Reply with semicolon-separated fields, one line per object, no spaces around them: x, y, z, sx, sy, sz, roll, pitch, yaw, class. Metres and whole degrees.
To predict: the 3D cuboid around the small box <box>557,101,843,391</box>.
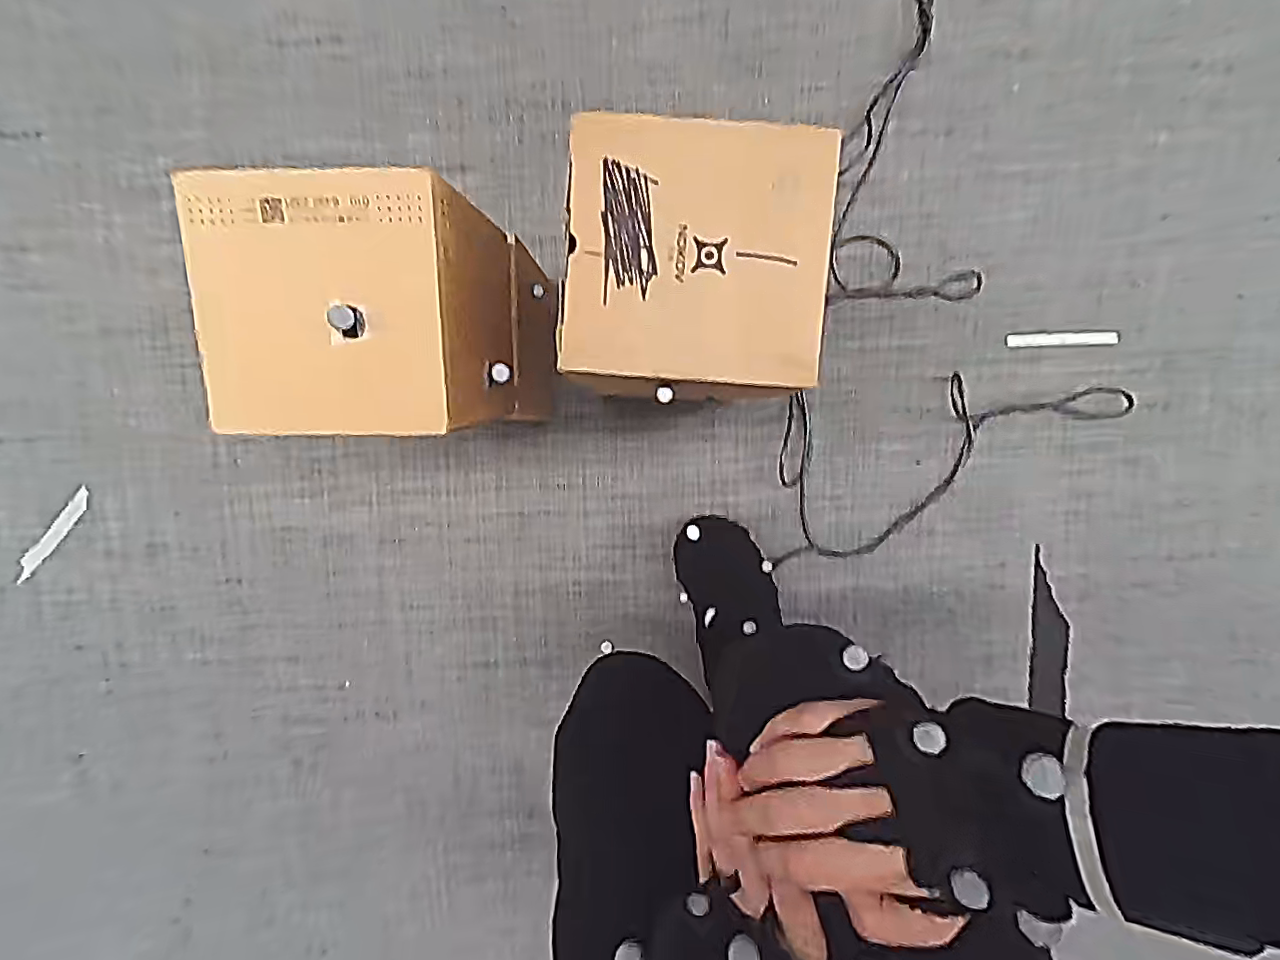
0.038;-0.162;0.431;0.179;0.176;0.168;4;96;-1;small box
